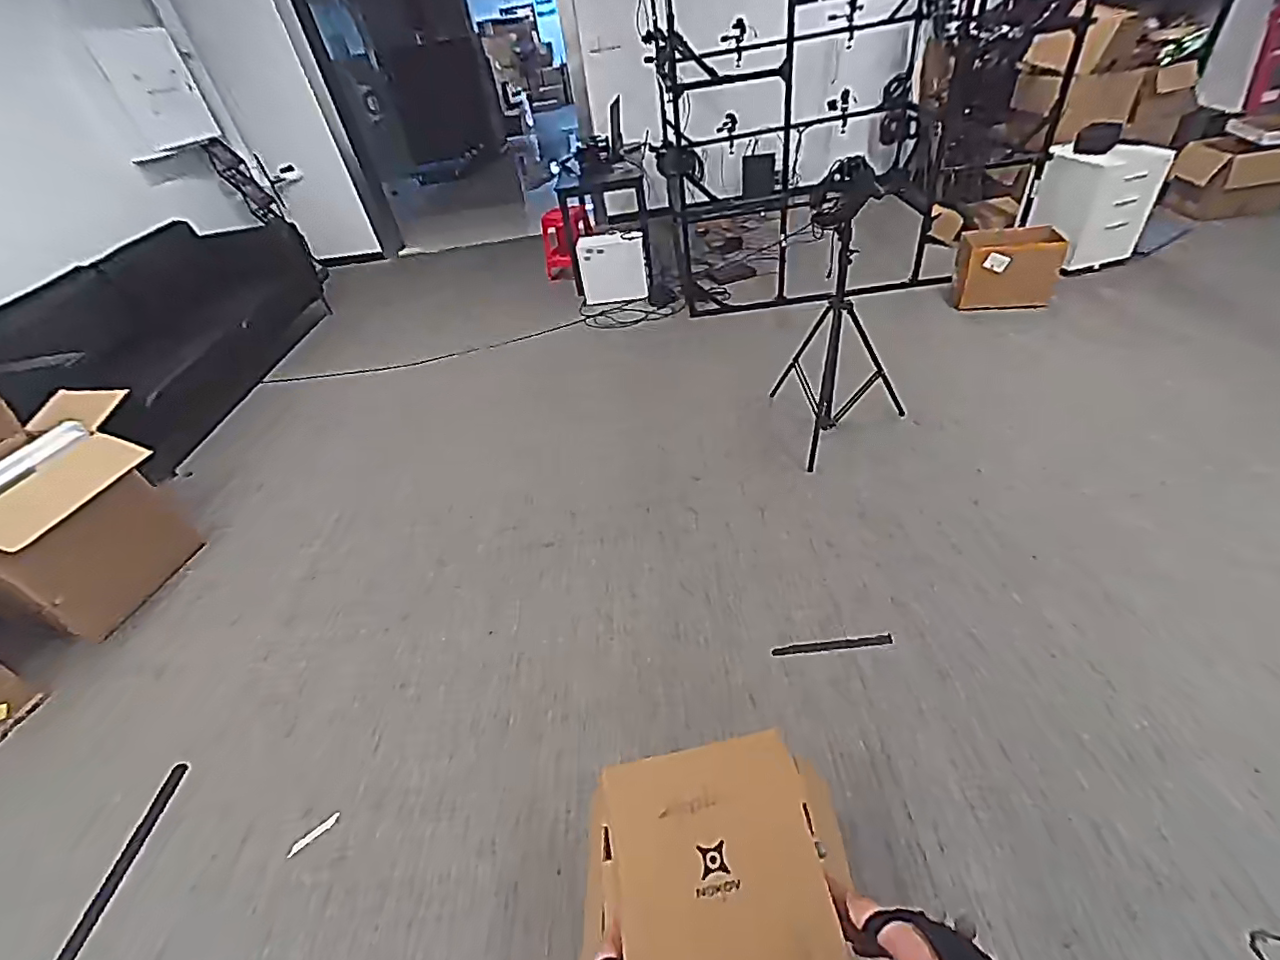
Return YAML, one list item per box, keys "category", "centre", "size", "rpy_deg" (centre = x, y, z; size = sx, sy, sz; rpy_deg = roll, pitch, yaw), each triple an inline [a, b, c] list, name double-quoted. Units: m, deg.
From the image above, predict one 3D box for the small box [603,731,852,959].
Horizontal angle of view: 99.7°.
- category: "small box"
  centre: [0.070, 0.353, 0.489]
  size: [0.168, 0.176, 0.179]
  rpy_deg: [-12, 52, -1]
